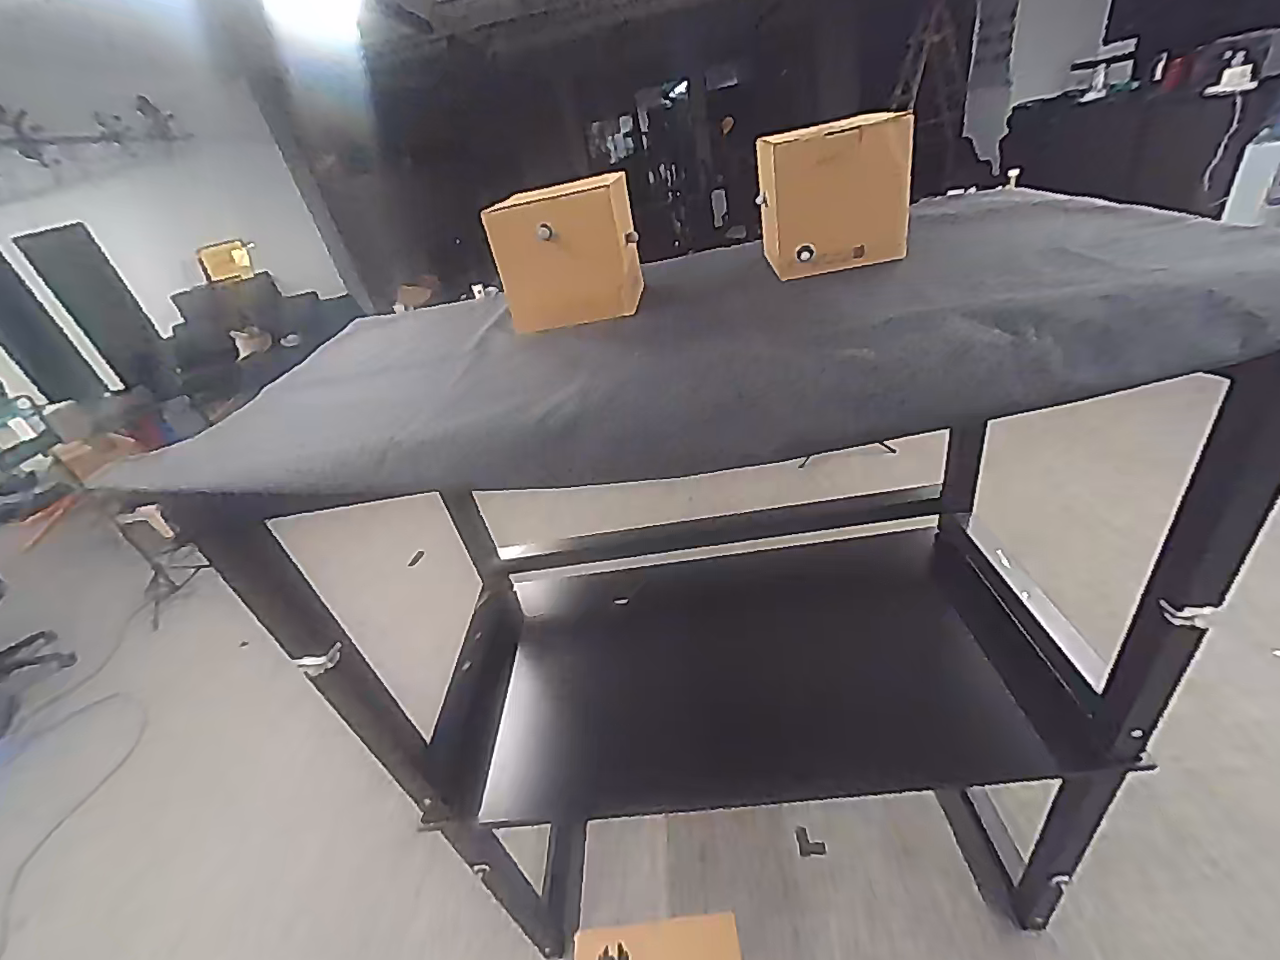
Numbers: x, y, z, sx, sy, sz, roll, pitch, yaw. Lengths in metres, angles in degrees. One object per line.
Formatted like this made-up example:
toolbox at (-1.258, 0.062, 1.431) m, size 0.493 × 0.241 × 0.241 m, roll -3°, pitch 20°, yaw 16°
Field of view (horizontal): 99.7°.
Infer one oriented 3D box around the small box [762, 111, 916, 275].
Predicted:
small box at (0.269, -0.397, 0.758) m, size 0.168 × 0.176 × 0.179 m, roll -7°, pitch 32°, yaw 9°

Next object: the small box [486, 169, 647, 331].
small box at (-0.091, -0.332, 0.786) m, size 0.179 × 0.176 × 0.168 m, roll -6°, pitch 33°, yaw 11°
